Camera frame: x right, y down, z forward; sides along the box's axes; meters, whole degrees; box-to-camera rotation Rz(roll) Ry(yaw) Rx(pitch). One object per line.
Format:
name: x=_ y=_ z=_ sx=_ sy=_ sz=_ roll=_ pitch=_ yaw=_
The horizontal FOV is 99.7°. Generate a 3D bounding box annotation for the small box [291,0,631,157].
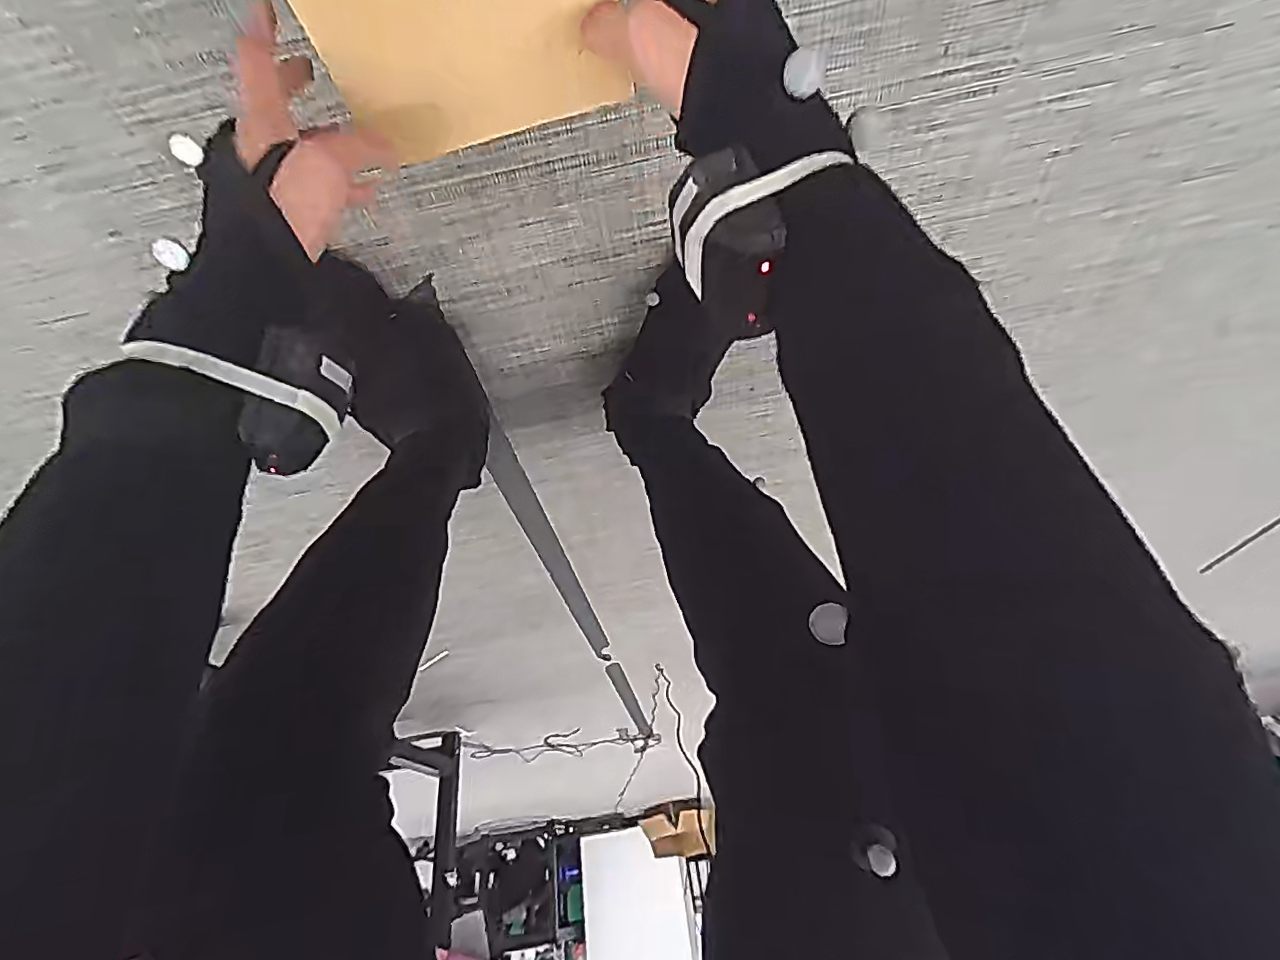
small box: x=-0.108 y=-0.327 z=0.305 sx=0.168 sy=0.176 sz=0.179 roll=-13 pitch=143 yaw=5
